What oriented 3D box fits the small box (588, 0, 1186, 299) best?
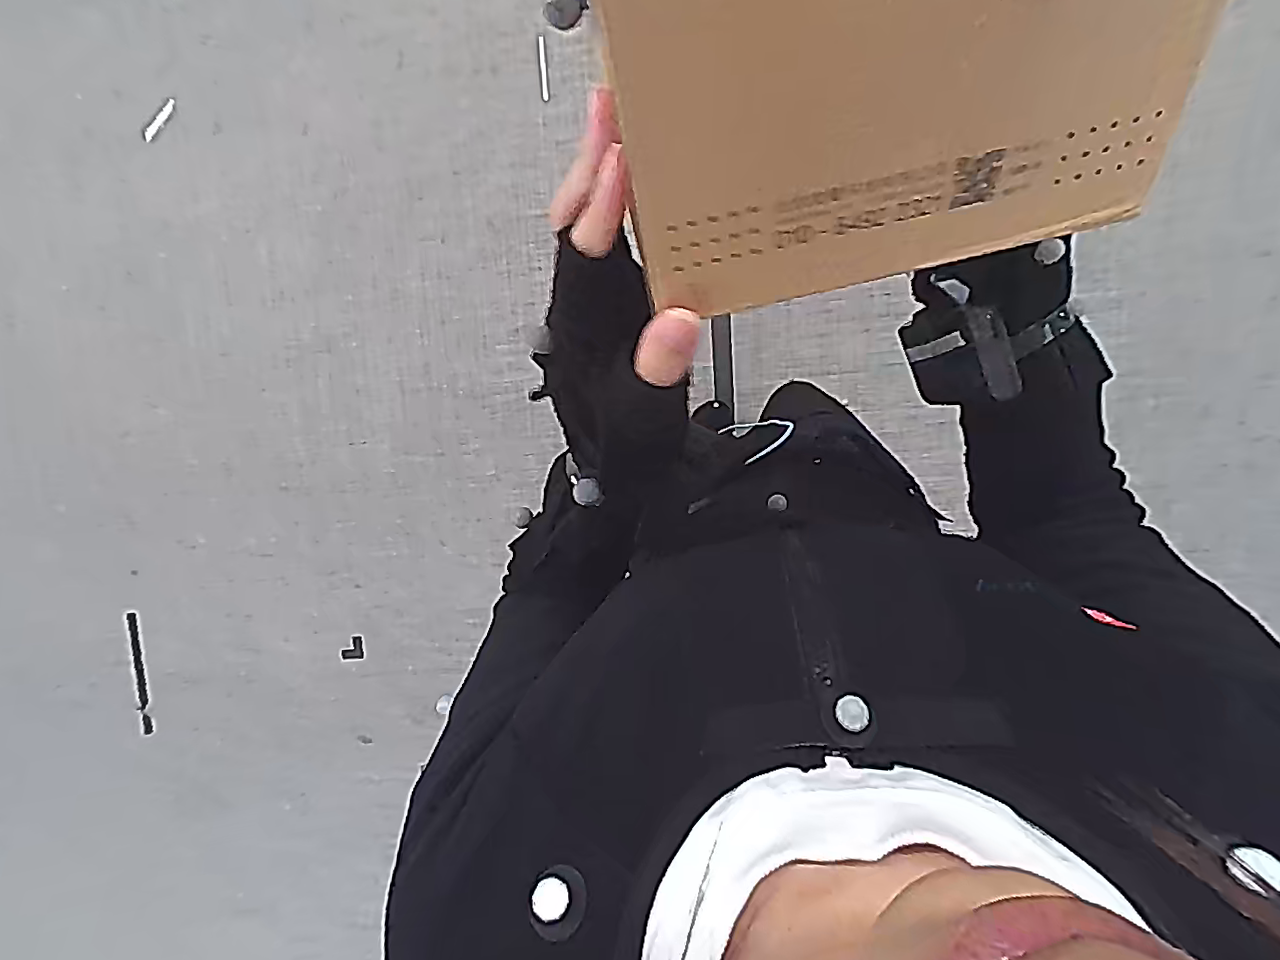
[{"bbox_3d":[0.067,-0.184,0.202,0.168,0.179,0.176,-13,132,1],"label":"small box"}]
